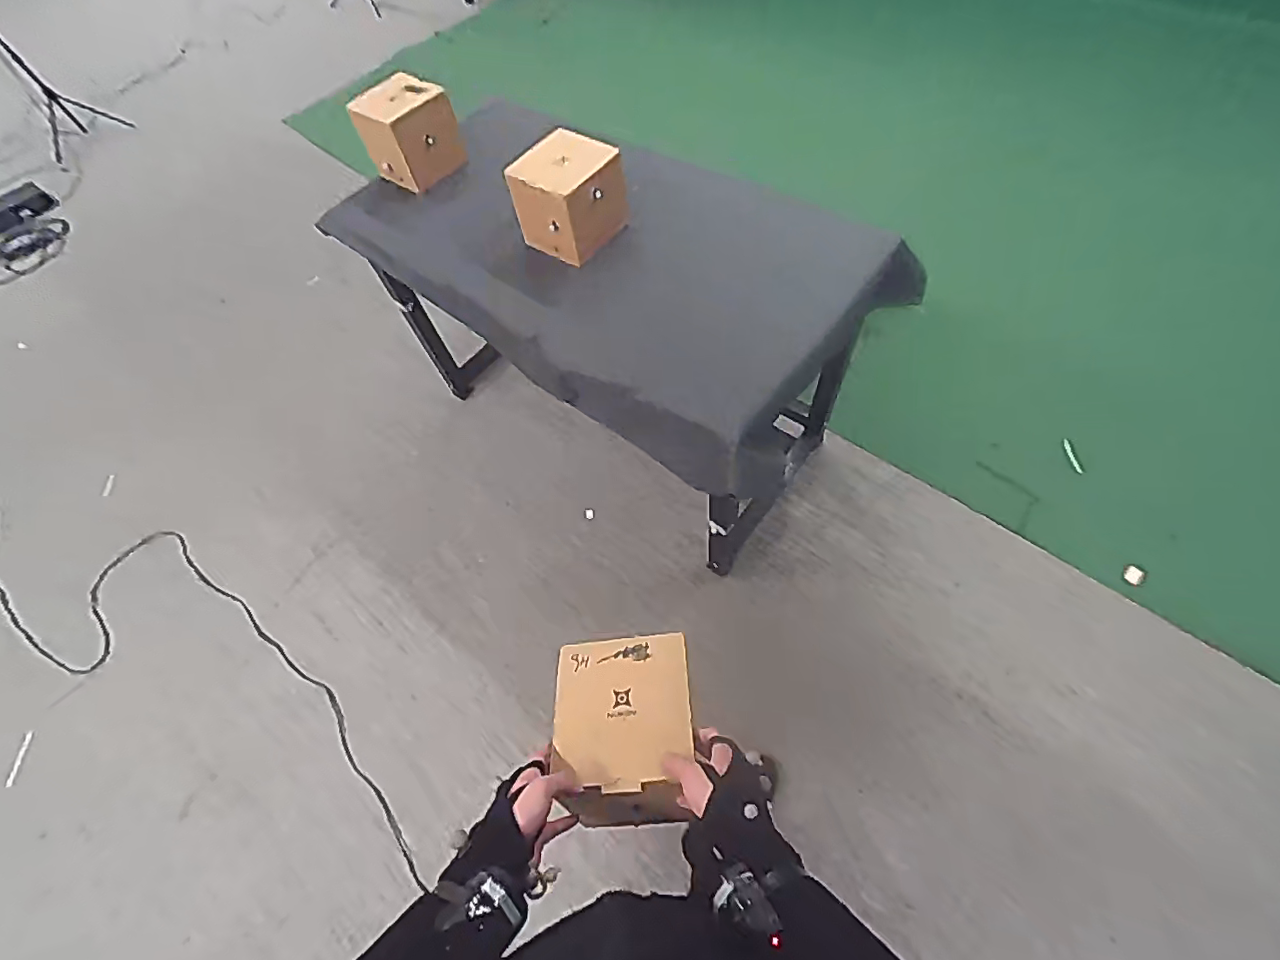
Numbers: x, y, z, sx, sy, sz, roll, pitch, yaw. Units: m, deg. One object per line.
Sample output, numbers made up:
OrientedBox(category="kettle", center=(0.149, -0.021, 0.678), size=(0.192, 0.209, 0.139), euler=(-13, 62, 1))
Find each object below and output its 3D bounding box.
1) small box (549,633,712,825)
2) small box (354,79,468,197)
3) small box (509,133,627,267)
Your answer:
OrientedBox(category="small box", center=(-0.005, 0.318, 0.680), size=(0.168, 0.176, 0.179), euler=(-8, 45, 6))
OrientedBox(category="small box", center=(-0.550, -0.839, 1.332), size=(0.168, 0.176, 0.179), euler=(33, 68, 22))
OrientedBox(category="small box", center=(-0.141, -0.586, 1.142), size=(0.168, 0.176, 0.179), euler=(32, 67, 21))
